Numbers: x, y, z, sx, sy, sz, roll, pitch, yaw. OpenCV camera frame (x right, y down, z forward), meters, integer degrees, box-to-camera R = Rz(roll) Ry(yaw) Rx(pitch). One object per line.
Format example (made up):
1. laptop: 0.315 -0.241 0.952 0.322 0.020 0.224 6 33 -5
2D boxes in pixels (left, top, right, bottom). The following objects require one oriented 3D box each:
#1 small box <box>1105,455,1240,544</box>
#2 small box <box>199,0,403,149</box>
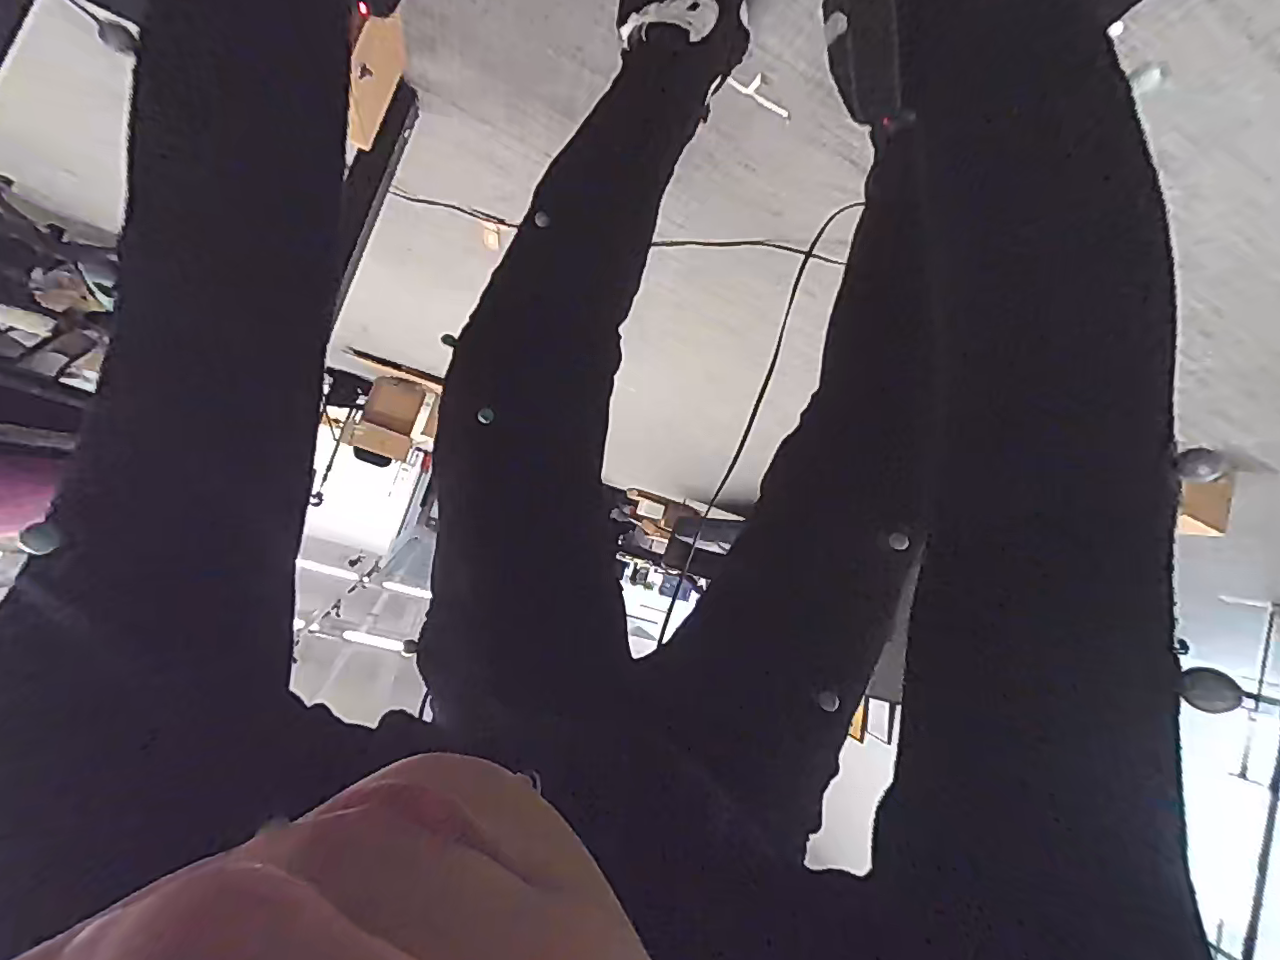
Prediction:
1. small box: 1.310 0.045 1.332 0.168 0.176 0.179 20 172 -17
2. small box: -0.435 -0.606 0.726 0.168 0.176 0.179 20 172 -16
